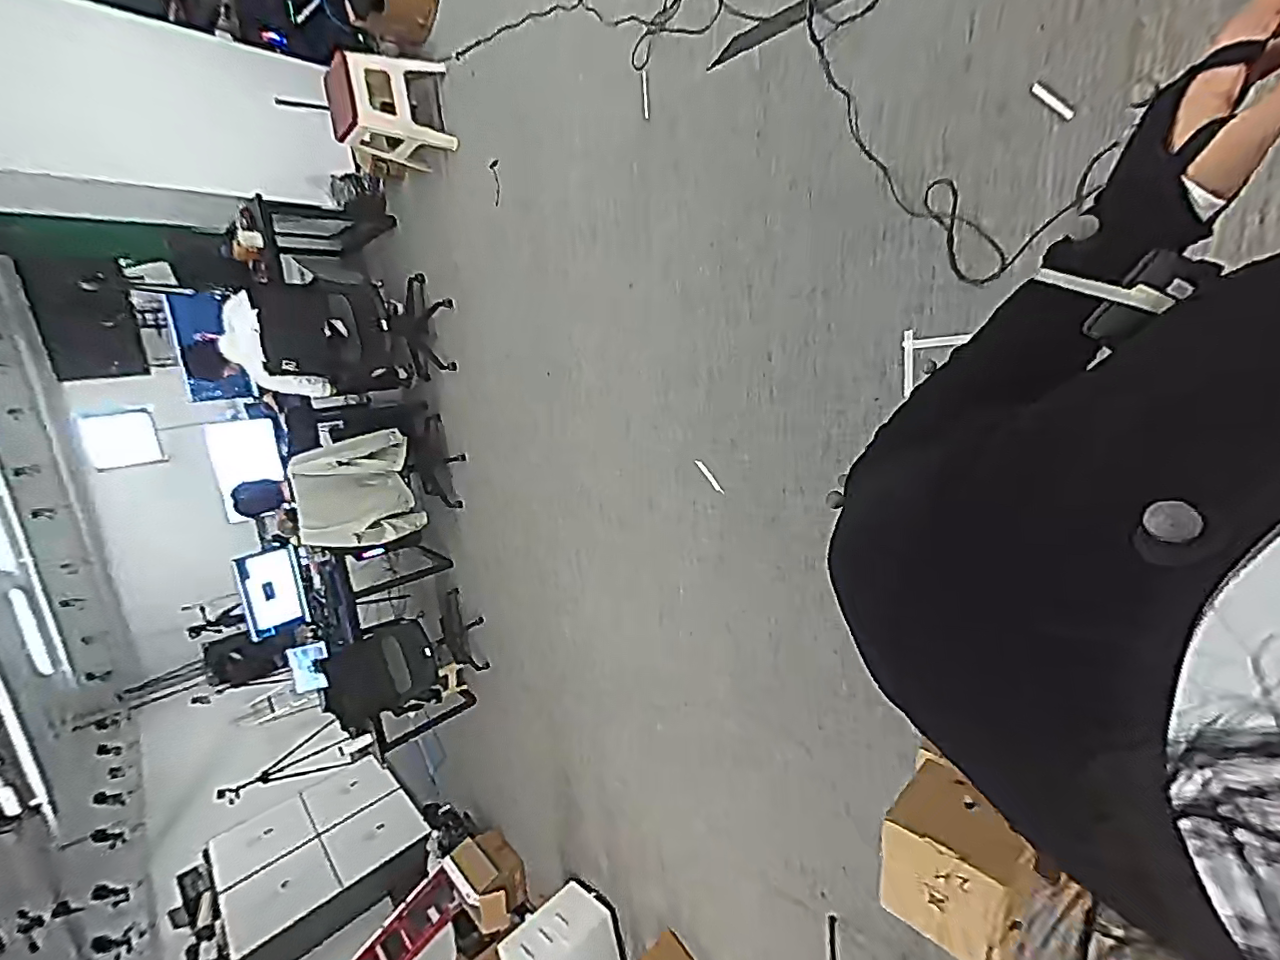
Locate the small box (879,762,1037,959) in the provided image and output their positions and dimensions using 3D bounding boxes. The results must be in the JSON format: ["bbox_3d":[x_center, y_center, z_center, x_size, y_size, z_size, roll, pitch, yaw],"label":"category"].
[{"bbox_3d":[0.493,0.589,0.840,0.168,0.176,0.179,11,109,47],"label":"small box"}]

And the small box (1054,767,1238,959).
[{"bbox_3d":[0.747,0.577,0.808,0.168,0.176,0.179,13,110,43],"label":"small box"}]
